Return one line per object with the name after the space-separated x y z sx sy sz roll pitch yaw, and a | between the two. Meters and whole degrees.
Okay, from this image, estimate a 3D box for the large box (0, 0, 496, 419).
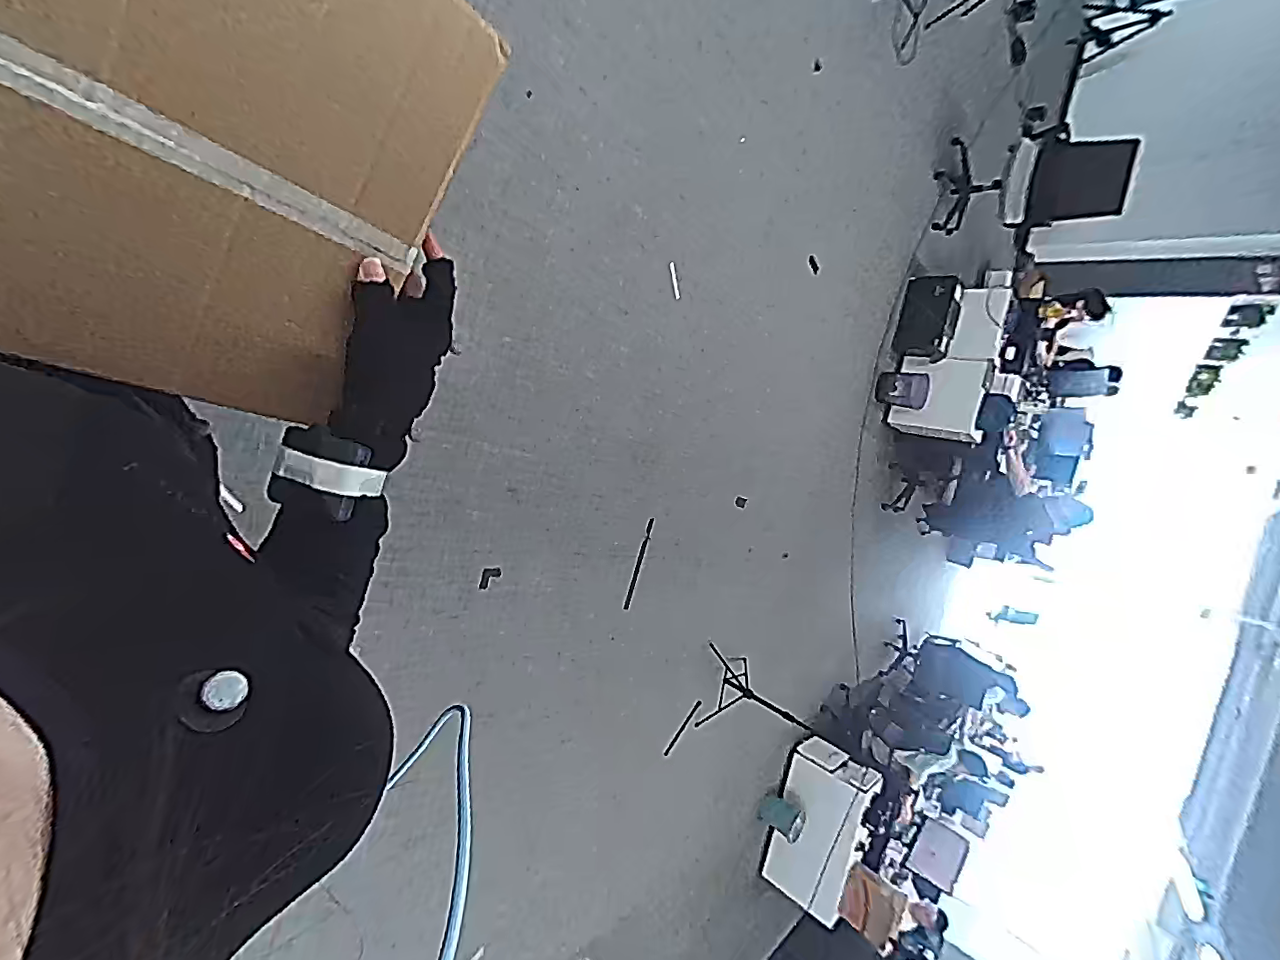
-0.384 -0.292 0.354 0.408 0.320 0.320 16 117 -46 | large box
